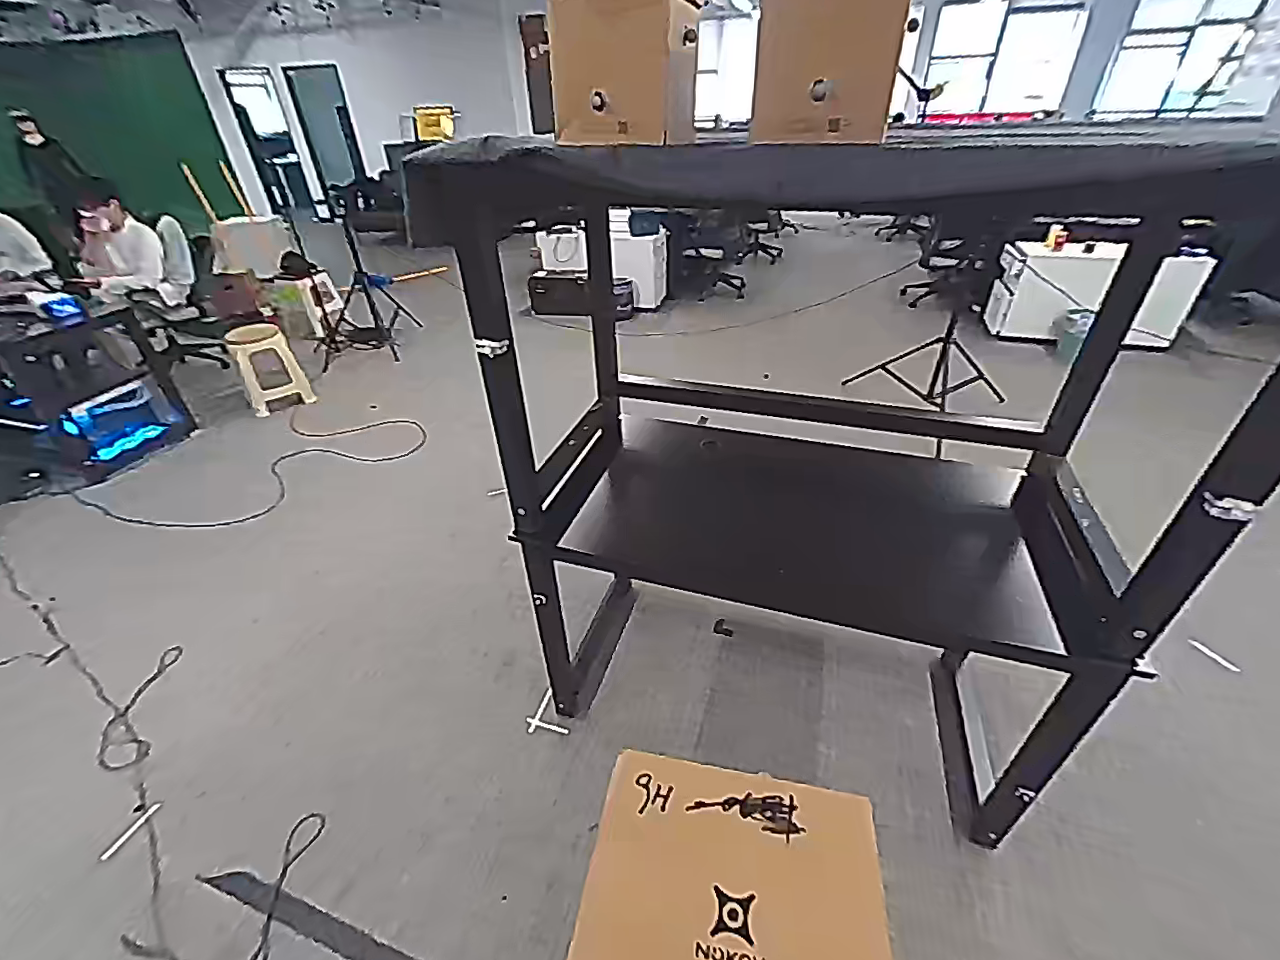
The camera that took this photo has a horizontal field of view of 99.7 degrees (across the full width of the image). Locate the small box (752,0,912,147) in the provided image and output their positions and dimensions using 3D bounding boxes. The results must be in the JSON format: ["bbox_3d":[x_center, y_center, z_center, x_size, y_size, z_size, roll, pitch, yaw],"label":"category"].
[{"bbox_3d":[0.244,-0.533,0.697,0.168,0.176,0.179,10,35,16],"label":"small box"}]

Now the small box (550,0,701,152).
[{"bbox_3d":[-0.016,-0.575,0.774,0.168,0.176,0.179,10,35,14],"label":"small box"}]
